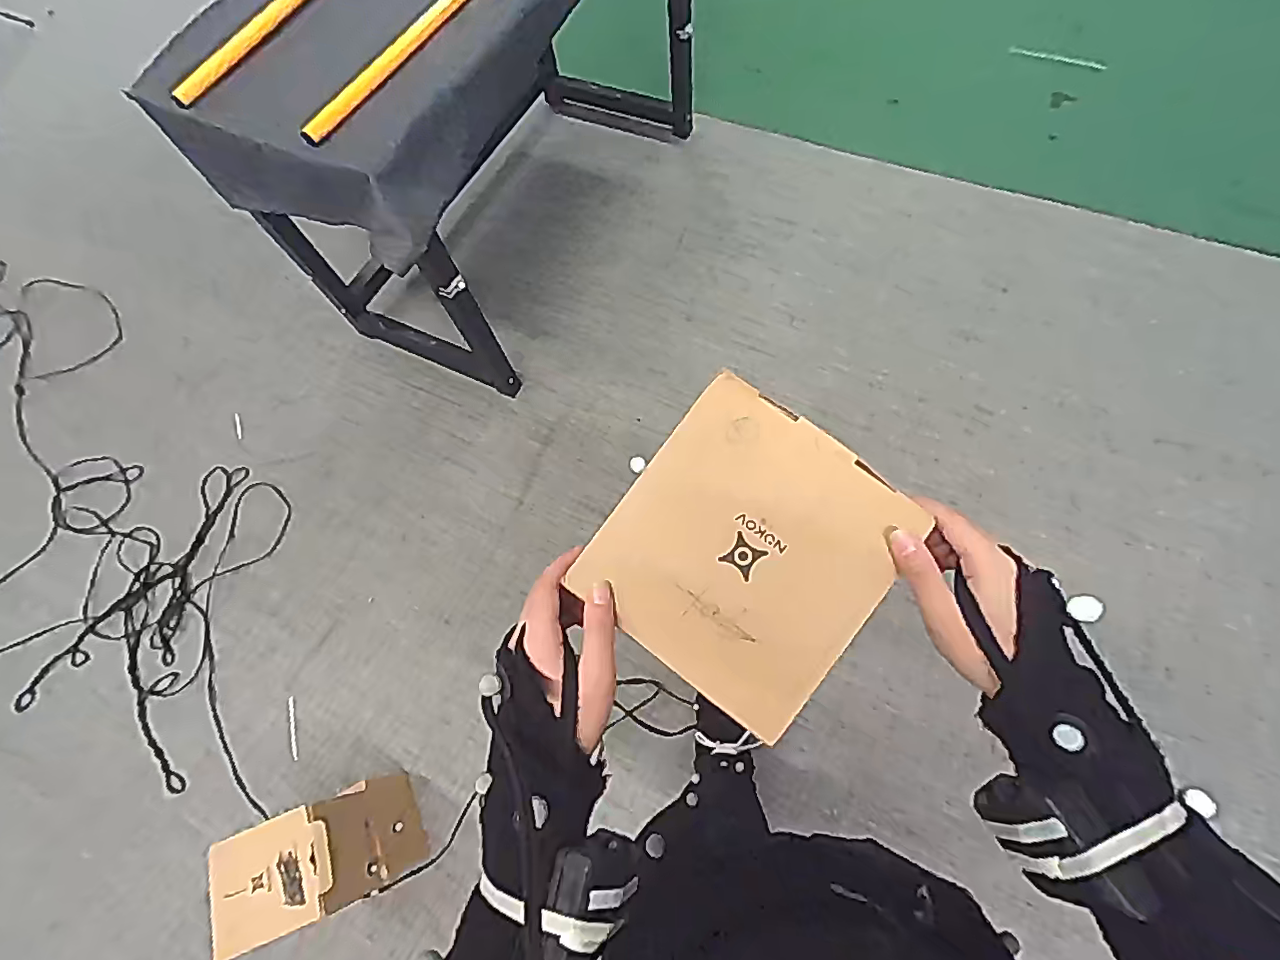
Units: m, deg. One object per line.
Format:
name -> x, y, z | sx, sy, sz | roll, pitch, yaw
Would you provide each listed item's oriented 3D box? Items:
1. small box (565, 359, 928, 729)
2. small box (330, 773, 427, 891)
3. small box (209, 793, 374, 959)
small box -> 0.070, 0.043, 0.417 | 0.168, 0.176, 0.179 | 36, 89, 7
small box -> -0.553, 0.714, 1.074 | 0.168, 0.176, 0.179 | -27, 68, -5
small box -> -0.578, 0.659, 0.919 | 0.179, 0.176, 0.168 | -23, 66, -3
